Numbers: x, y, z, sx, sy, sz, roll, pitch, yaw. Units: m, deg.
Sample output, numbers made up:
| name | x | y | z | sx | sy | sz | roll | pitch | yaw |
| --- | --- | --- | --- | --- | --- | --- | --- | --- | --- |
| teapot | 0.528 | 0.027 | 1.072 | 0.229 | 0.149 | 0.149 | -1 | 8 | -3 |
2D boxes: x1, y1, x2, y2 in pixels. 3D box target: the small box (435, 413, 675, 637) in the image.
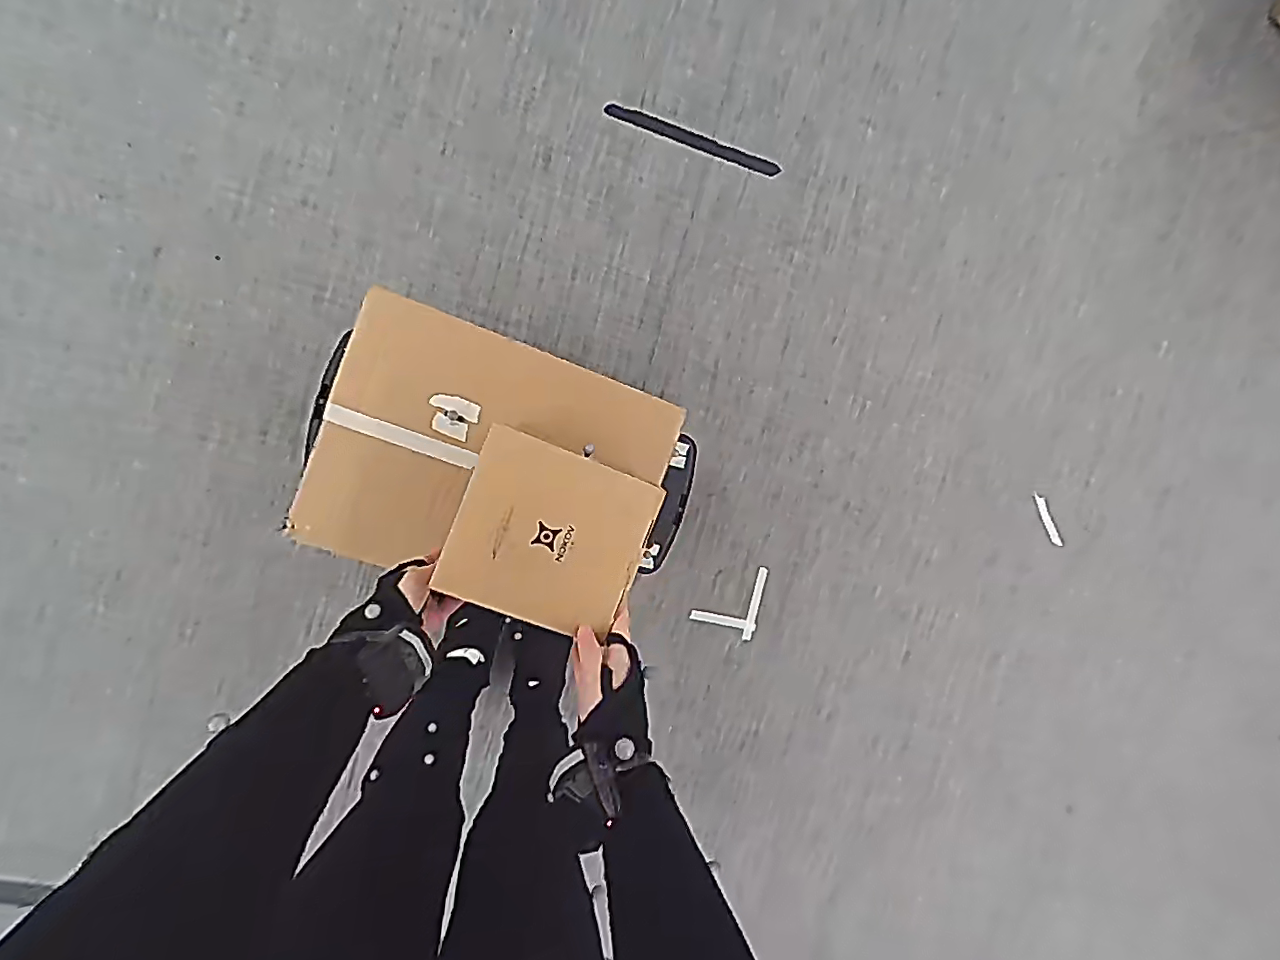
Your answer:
| name | x | y | z | sx | sy | sz | roll | pitch | yaw |
| --- | --- | --- | --- | --- | --- | --- | --- | --- | --- |
| small box | -0.087 | 0.038 | 0.578 | 0.179 | 0.176 | 0.168 | 23 | 91 | -9 |

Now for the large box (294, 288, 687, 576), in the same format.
| name | x | y | z | sx | sy | sz | roll | pitch | yaw |
| --- | --- | --- | --- | --- | --- | --- | --- | --- | --- |
| large box | -0.191 | -0.029 | 0.806 | 0.408 | 0.320 | 0.320 | 20 | 90 | -9 |

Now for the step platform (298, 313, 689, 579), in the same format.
| name | x | y | z | sx | sy | sz | roll | pitch | yaw |
| --- | --- | --- | --- | --- | --- | --- | --- | --- | --- |
| step platform | -0.252 | -0.052 | 1.036 | 0.684 | 0.204 | 0.286 | 22 | 91 | -9 |
